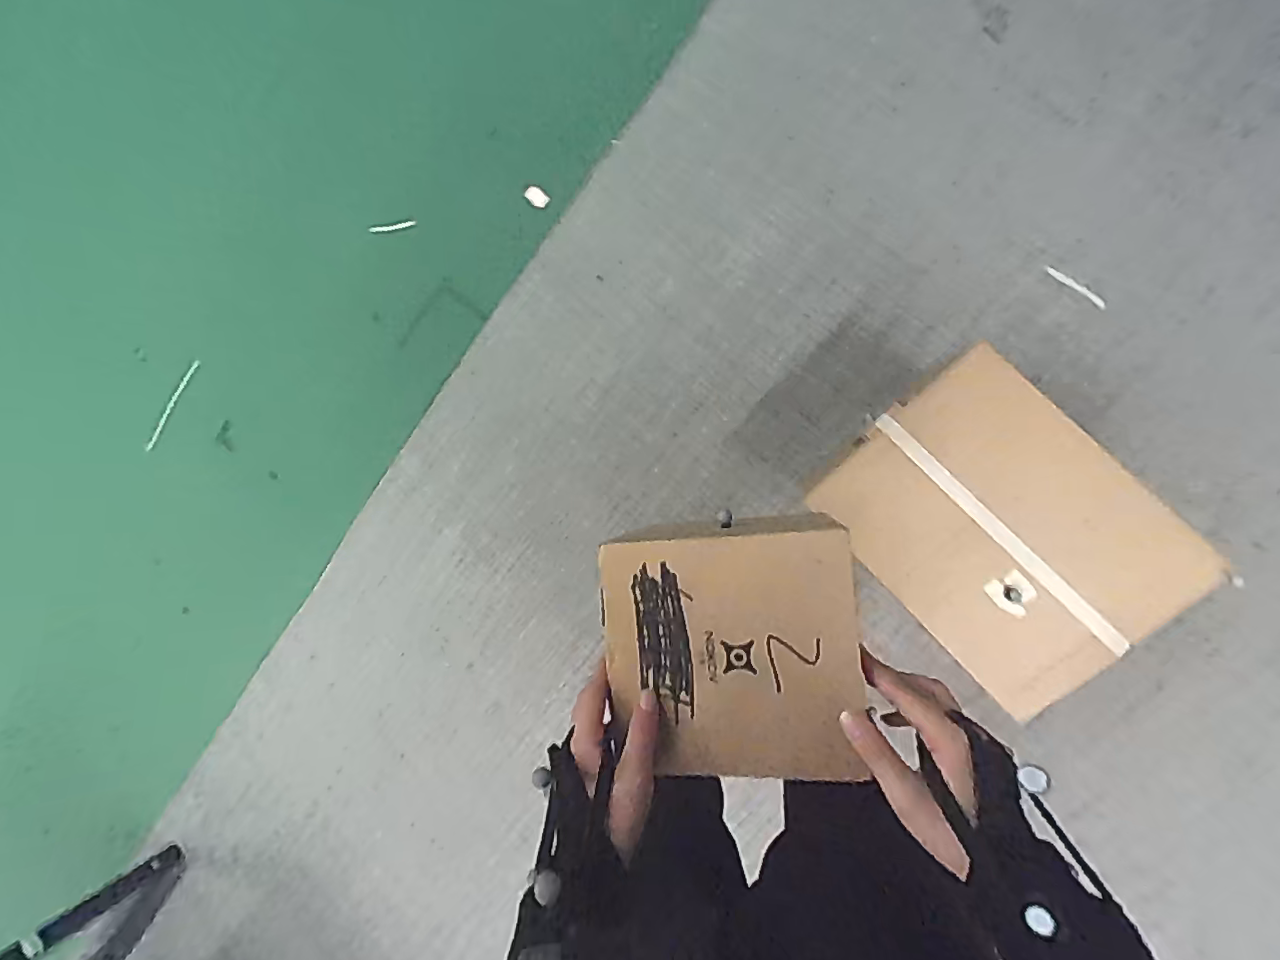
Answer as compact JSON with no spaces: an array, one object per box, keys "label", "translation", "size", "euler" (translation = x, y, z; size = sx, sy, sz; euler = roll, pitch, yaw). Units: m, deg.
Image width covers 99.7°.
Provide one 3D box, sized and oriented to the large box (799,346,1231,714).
[{"label":"large box","translation":[0.509,0.058,0.852],"size":[0.320,0.320,0.408],"euler":[-45,82,13]}]
